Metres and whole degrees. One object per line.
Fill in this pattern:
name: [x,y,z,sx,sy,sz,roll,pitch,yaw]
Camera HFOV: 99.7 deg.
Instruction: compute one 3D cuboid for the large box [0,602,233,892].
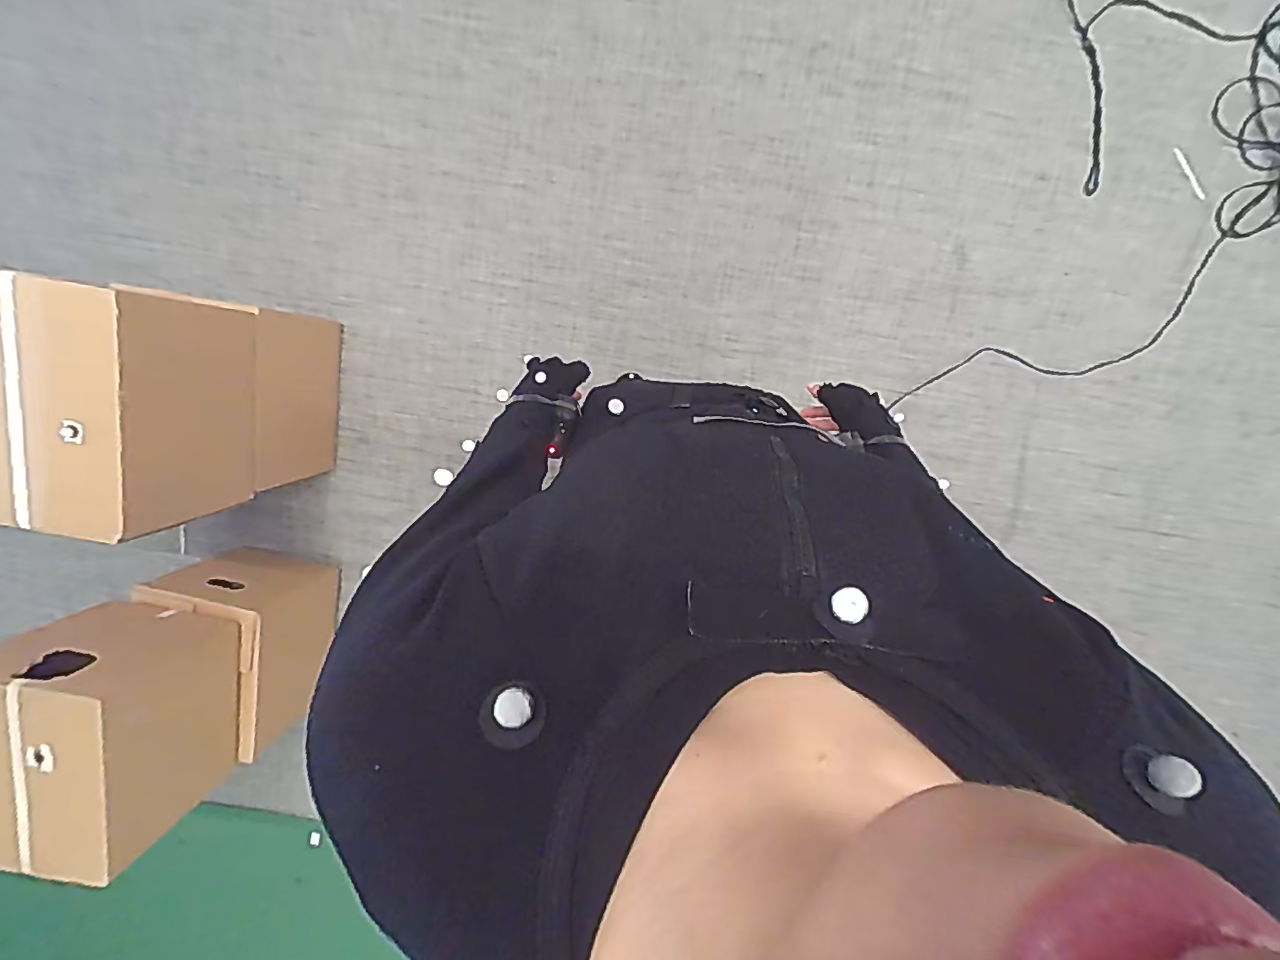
large box: [-1.108,0.519,1.118,0.320,0.320,0.408,10,100,3]
